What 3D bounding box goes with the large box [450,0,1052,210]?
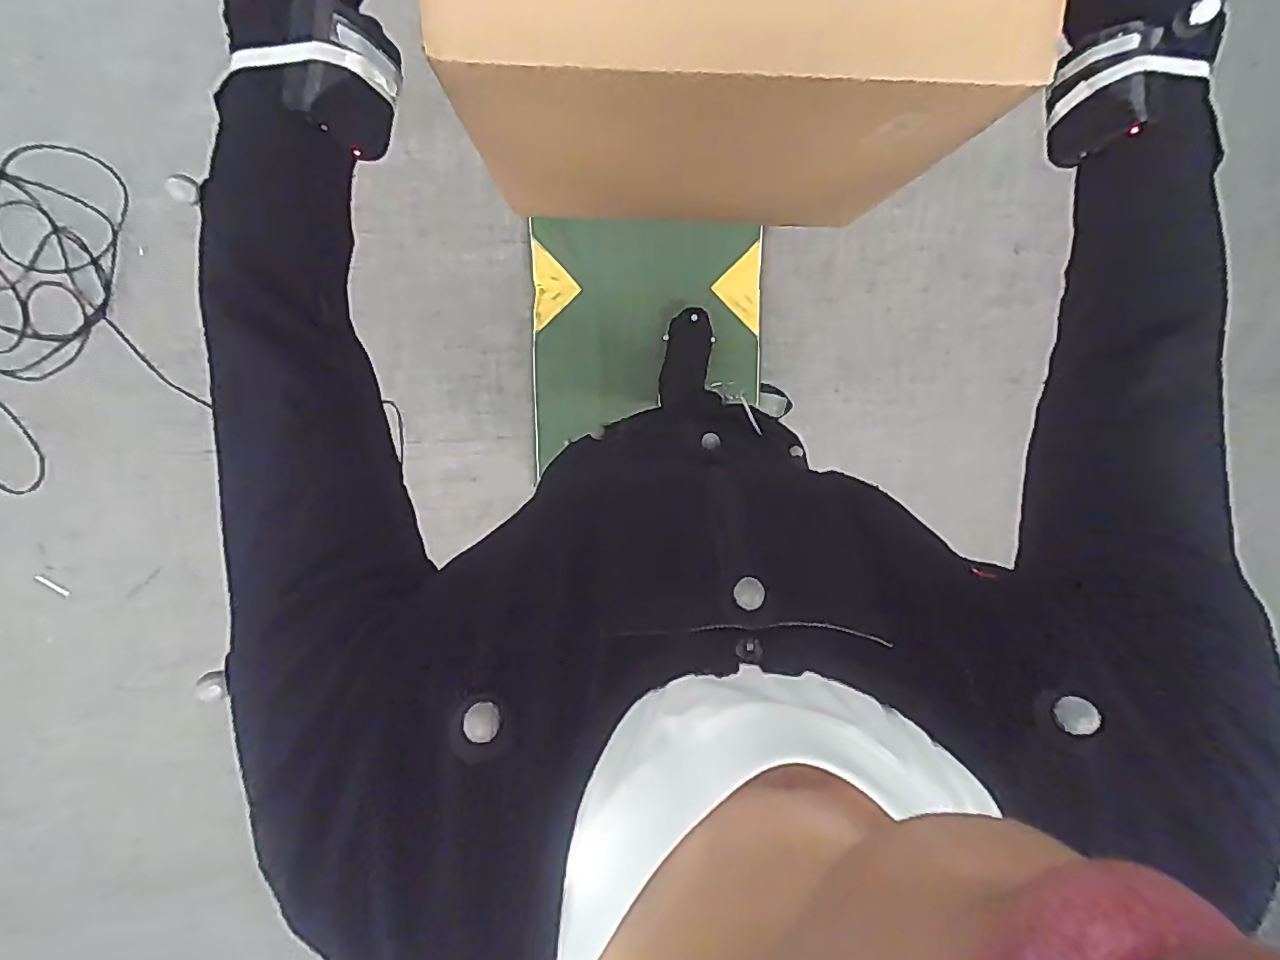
[{"bbox_3d":[0.065,-0.448,0.475,0.408,0.320,0.320,-1,100,-4],"label":"large box"}]
